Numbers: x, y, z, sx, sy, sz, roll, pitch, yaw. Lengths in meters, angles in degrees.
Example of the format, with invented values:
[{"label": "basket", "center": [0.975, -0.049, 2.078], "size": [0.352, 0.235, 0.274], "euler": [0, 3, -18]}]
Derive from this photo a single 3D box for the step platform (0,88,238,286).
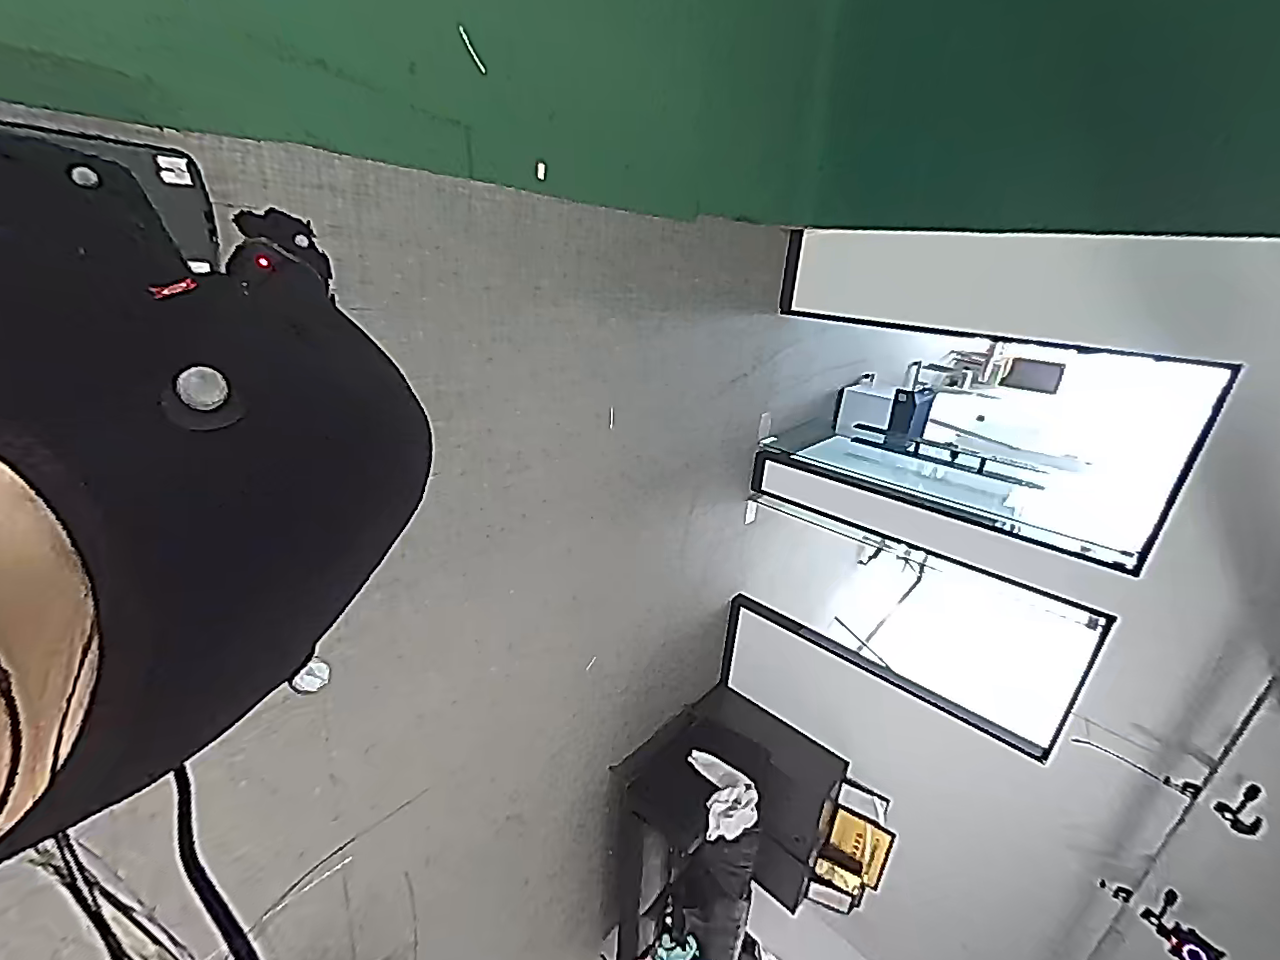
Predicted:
[{"label": "step platform", "center": [-1.049, -0.457, 0.818], "size": [0.684, 0.204, 0.286], "euler": [-19, 123, -44]}]
